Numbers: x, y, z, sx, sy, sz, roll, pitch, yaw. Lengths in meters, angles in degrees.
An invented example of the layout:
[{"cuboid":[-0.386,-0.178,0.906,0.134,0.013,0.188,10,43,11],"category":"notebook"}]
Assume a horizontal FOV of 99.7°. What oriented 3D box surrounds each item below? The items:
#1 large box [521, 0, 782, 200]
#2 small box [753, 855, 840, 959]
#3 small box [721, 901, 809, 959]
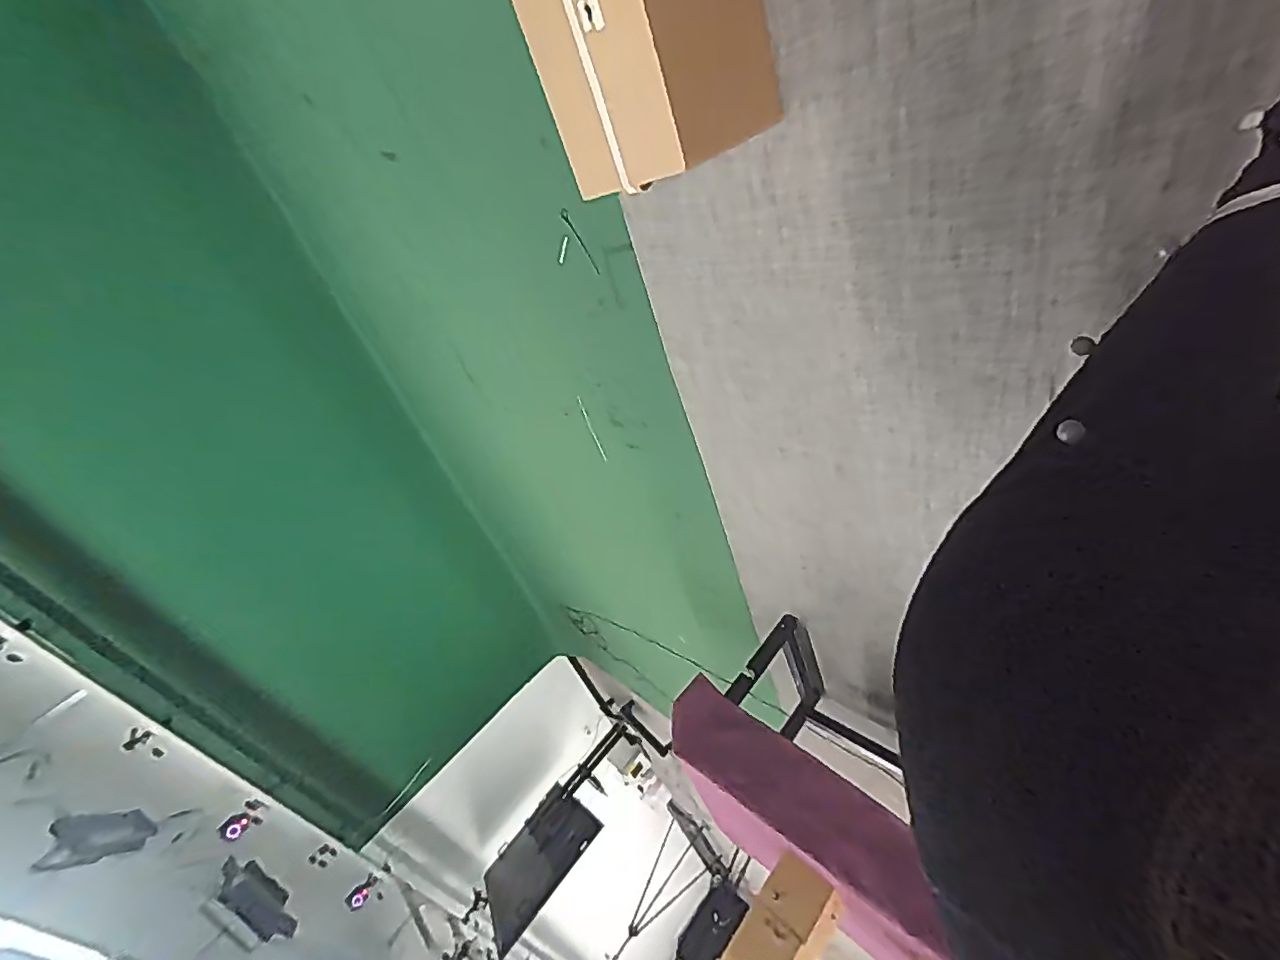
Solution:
[{"cuboid":[0.029,-0.818,1.033,0.320,0.320,0.408,18,138,46],"category":"large box"},{"cuboid":[0.473,1.275,1.628,0.179,0.176,0.168,15,139,47],"category":"small box"},{"cuboid":[0.366,1.374,1.554,0.168,0.176,0.179,13,136,47],"category":"small box"}]
